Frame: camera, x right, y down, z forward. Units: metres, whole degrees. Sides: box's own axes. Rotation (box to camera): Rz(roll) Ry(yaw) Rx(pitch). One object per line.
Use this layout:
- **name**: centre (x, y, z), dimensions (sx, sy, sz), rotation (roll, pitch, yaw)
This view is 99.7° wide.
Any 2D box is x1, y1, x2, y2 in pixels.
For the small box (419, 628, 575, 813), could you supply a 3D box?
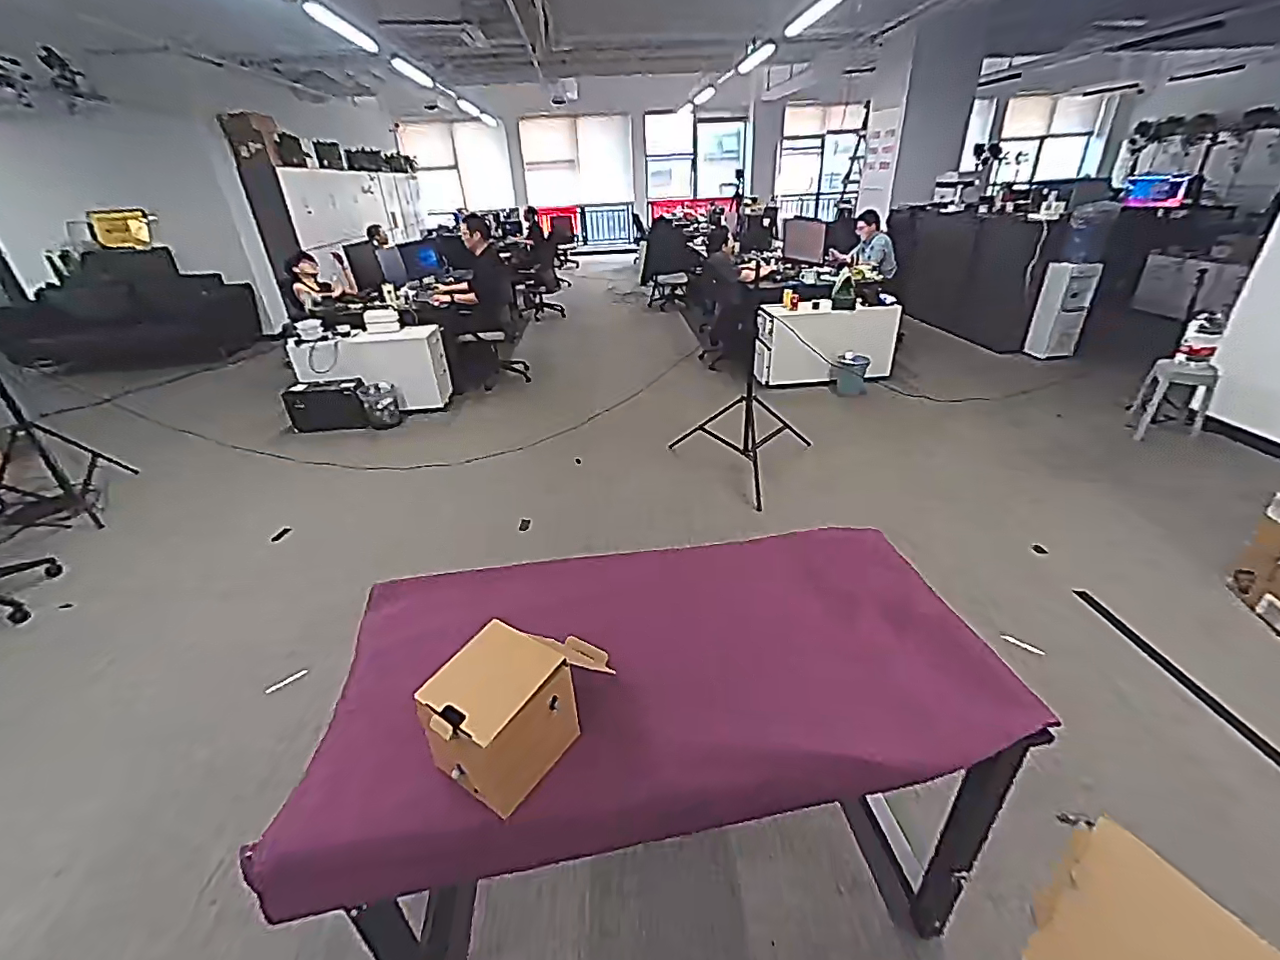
- **small box**: centre (-0.219, 0.380, 0.871), dimensions (0.168, 0.176, 0.179), rotation (15, 33, 32)
